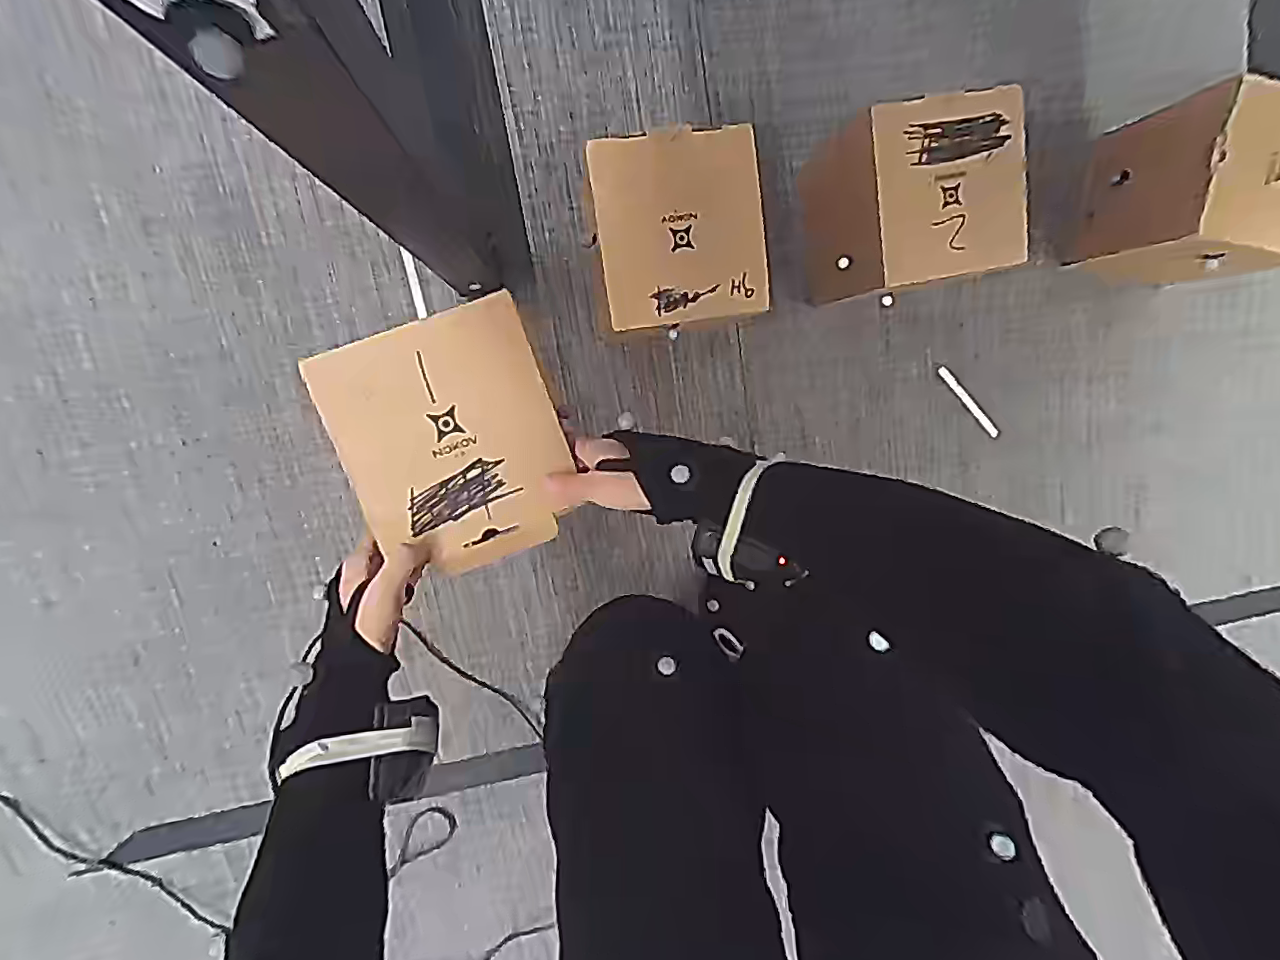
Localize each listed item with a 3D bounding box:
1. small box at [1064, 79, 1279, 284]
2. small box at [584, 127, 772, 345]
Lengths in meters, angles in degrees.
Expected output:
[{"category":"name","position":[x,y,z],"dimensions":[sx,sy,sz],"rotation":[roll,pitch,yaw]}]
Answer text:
[{"category":"small box","position":[0.695,-0.351,0.675],"dimensions":[0.179,0.176,0.168],"rotation":[6,100,-8]},{"category":"small box","position":[0.031,-0.255,0.601],"dimensions":[0.168,0.176,0.179],"rotation":[-9,100,-7]}]
